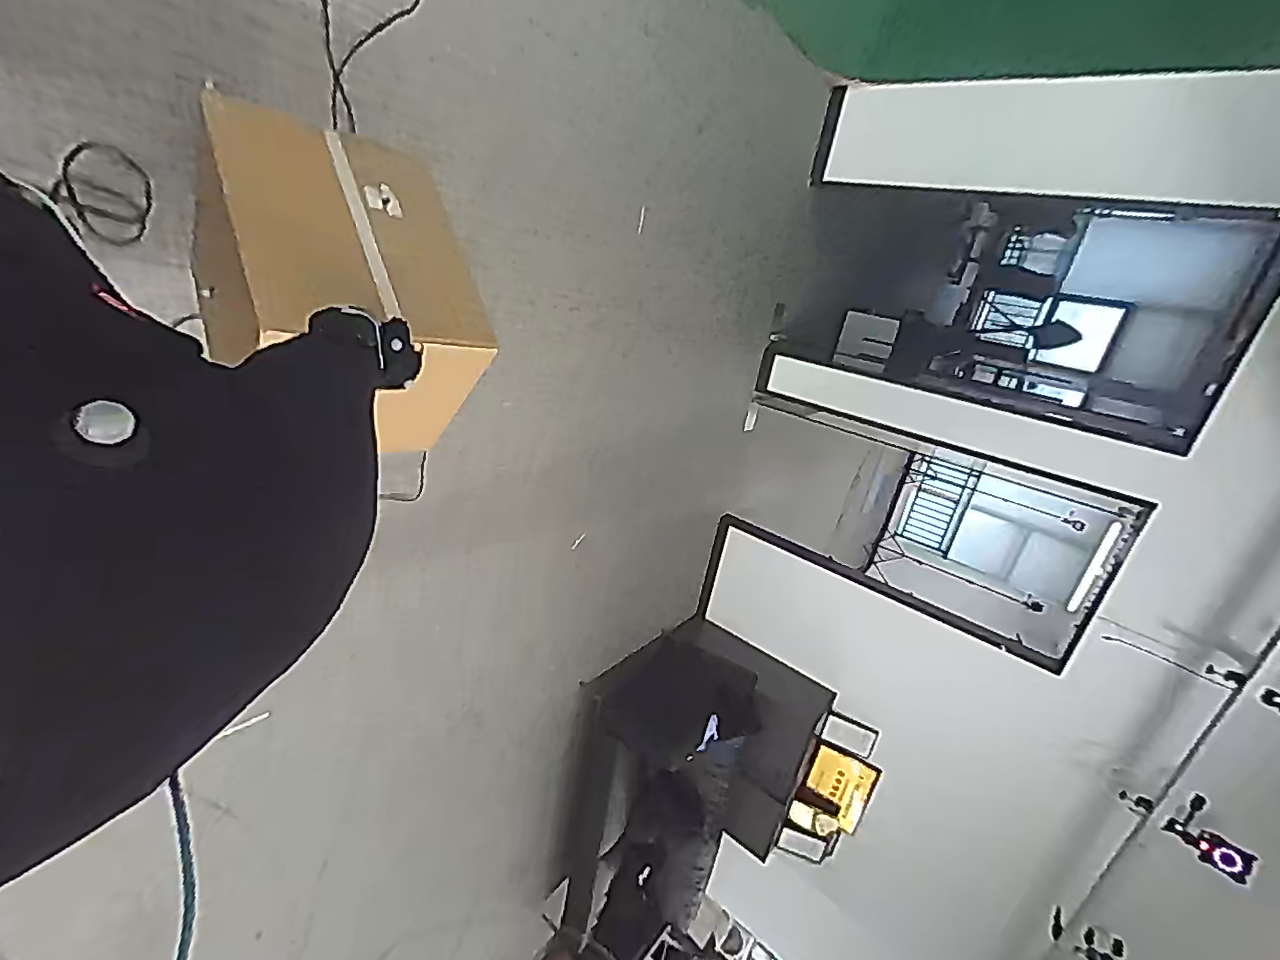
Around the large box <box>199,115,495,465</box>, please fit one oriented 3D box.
[{"bbox_3d":[-0.499,-0.280,0.896,0.320,0.408,0.320,-8,156,-45],"label":"large box"}]
